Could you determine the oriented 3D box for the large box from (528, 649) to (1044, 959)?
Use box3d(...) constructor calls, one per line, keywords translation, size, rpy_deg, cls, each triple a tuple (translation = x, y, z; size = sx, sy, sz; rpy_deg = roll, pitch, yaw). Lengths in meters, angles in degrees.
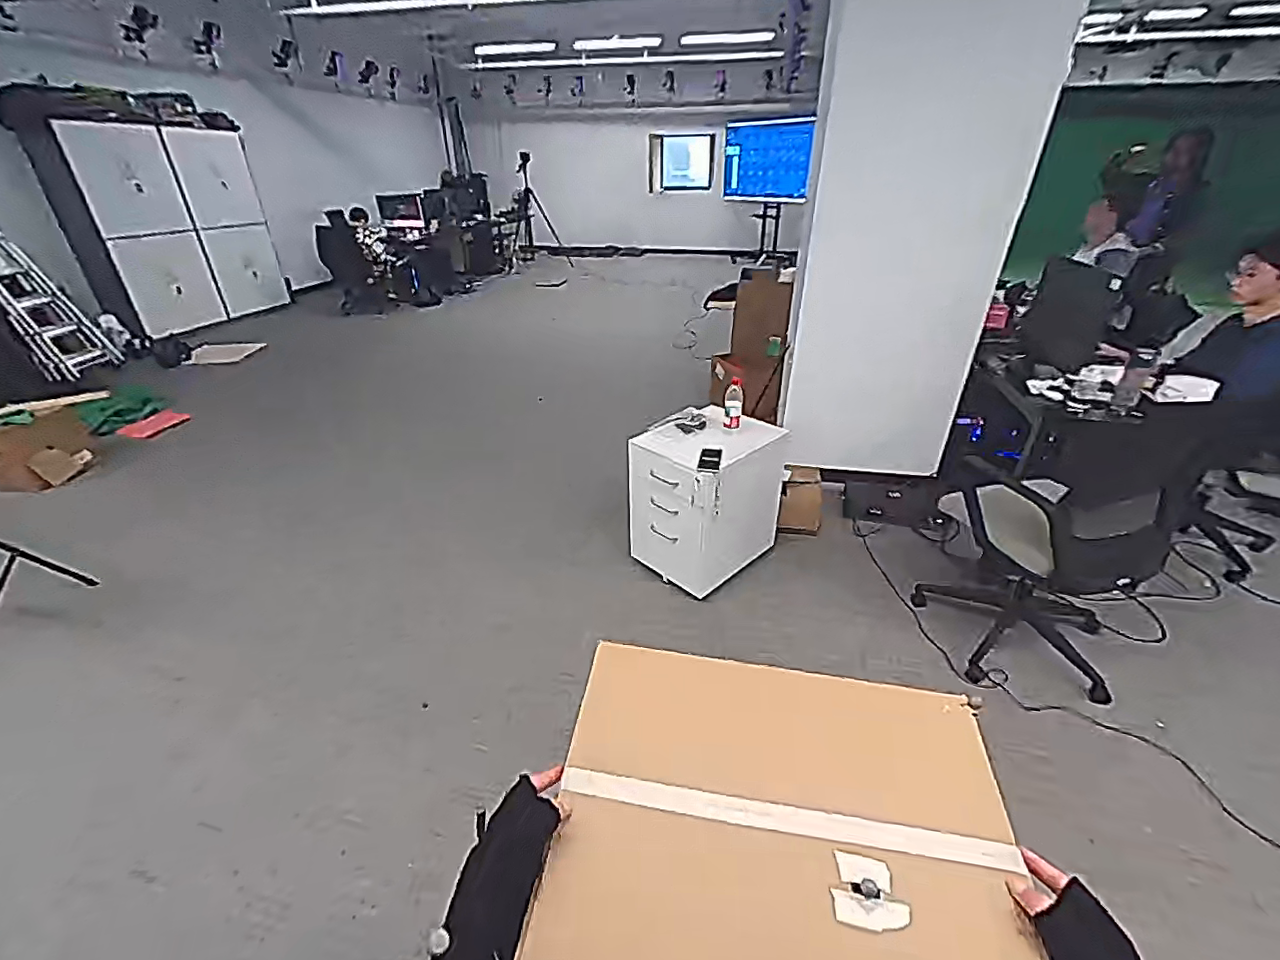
box3d(translation=(0.124, 0.426, 0.585), size=(0.408, 0.320, 0.320), rpy_deg=(7, 39, 7), cls="large box")
